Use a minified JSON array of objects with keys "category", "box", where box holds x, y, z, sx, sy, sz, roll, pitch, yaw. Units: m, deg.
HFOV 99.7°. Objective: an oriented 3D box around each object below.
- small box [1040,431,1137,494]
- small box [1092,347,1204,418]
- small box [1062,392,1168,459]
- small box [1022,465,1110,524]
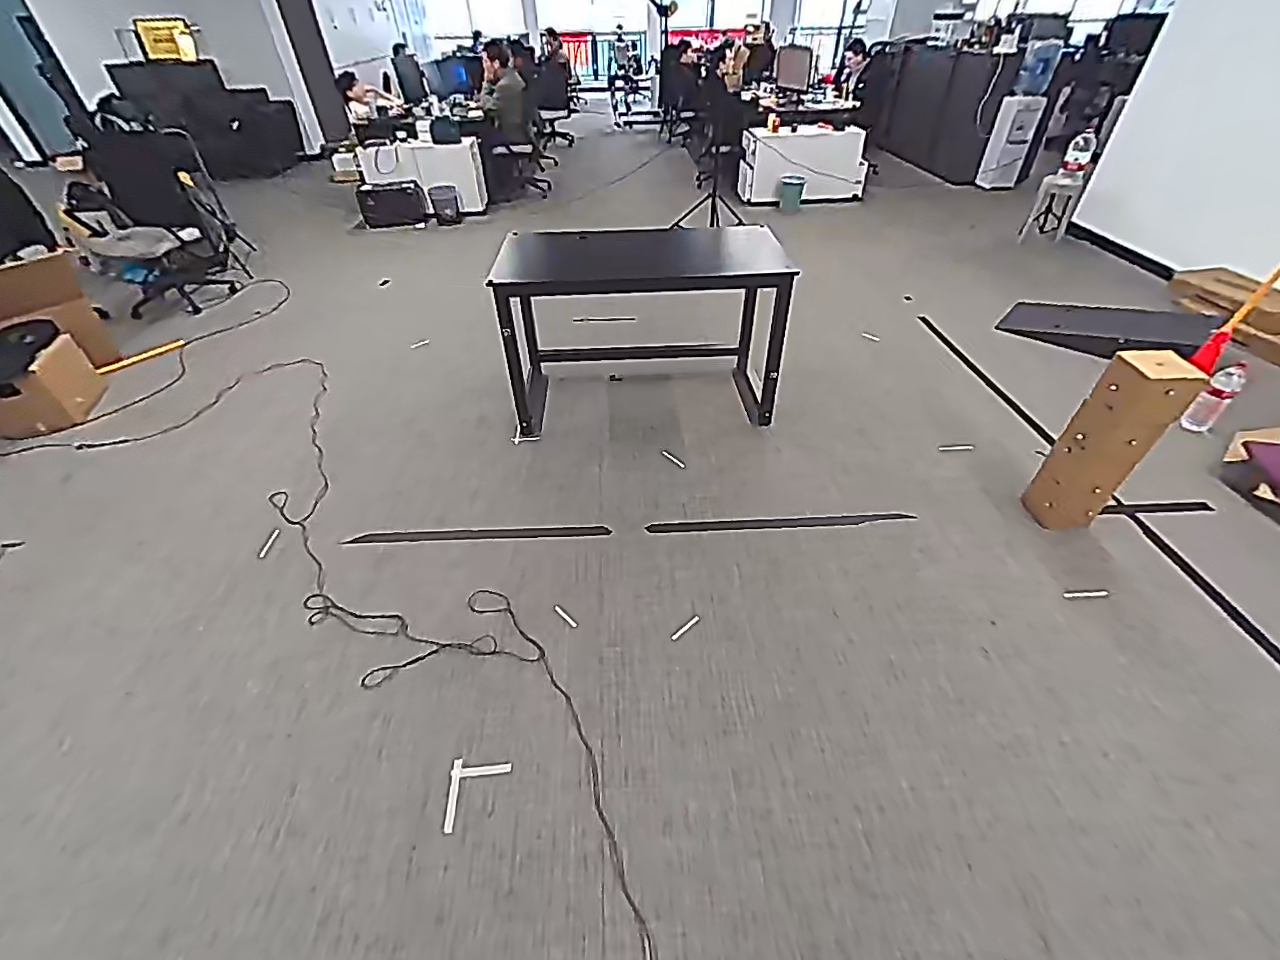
[{"category":"small box","box":[1.599,-0.066,1.941,0.179,0.176,0.168,-4,41,-3]},{"category":"small box","box":[1.592,-0.307,1.716,0.179,0.176,0.168,-1,42,0]},{"category":"small box","box":[1.595,-0.186,1.828,0.179,0.176,0.168,-5,42,-2]},{"category":"small box","box":[1.606,0.056,2.050,0.168,0.176,0.179,-3,40,-2]}]
